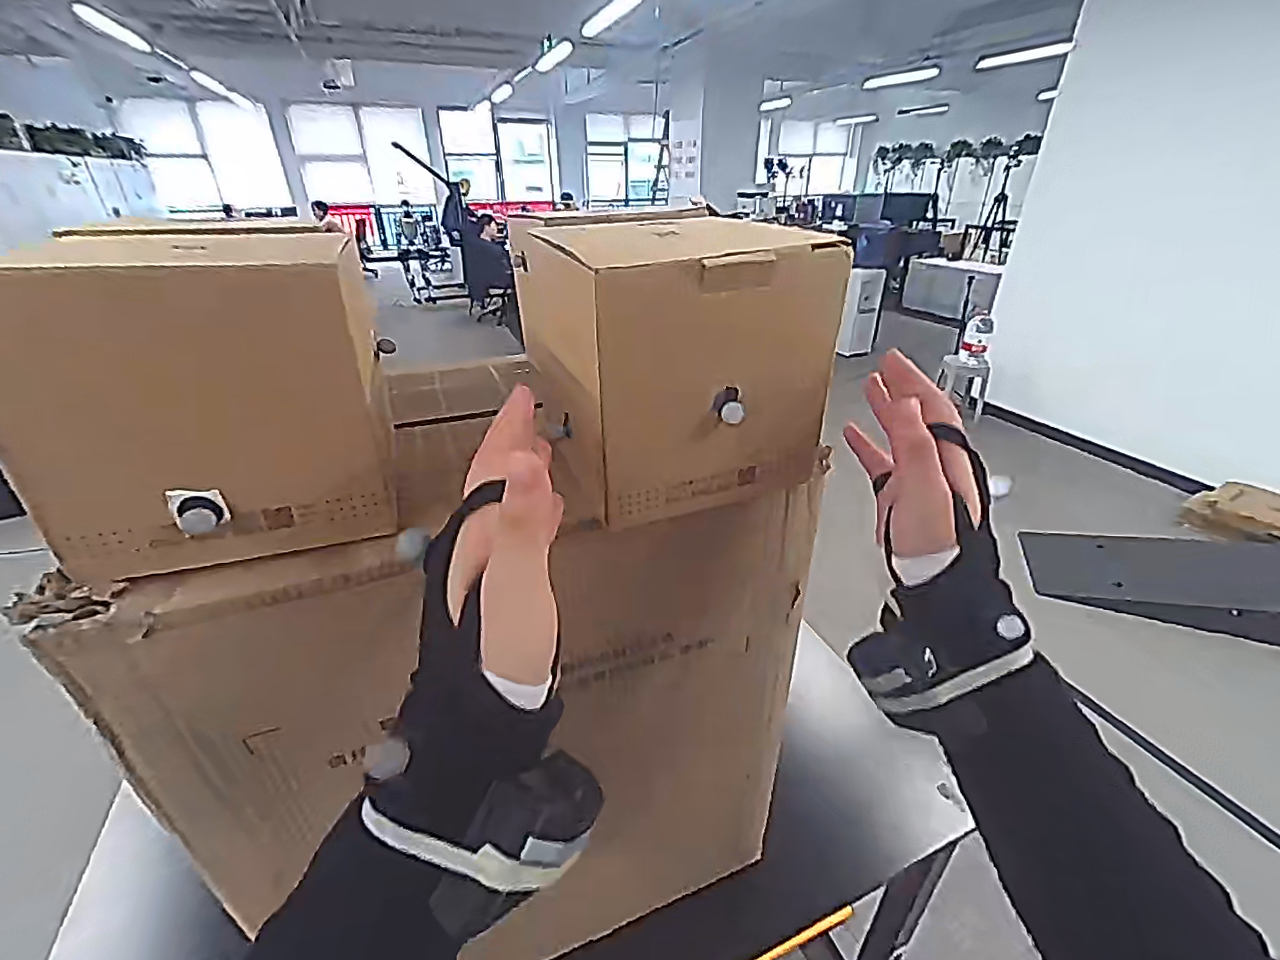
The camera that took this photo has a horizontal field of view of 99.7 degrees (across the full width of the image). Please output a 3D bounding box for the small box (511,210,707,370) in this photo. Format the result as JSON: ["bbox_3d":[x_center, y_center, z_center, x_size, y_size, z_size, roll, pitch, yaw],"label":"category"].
[{"bbox_3d":[-0.038,-0.204,0.605,0.168,0.176,0.179,-13,29,-19],"label":"small box"}]

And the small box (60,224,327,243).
[{"bbox_3d":[-0.369,-0.145,0.508,0.168,0.176,0.179,-14,31,-25],"label":"small box"}]

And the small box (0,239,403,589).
[{"bbox_3d":[-0.259,-0.058,0.352,0.168,0.176,0.179,-11,31,-20],"label":"small box"}]

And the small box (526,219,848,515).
[{"bbox_3d":[0.022,-0.088,0.406,0.168,0.176,0.179,-13,34,-18],"label":"small box"}]
